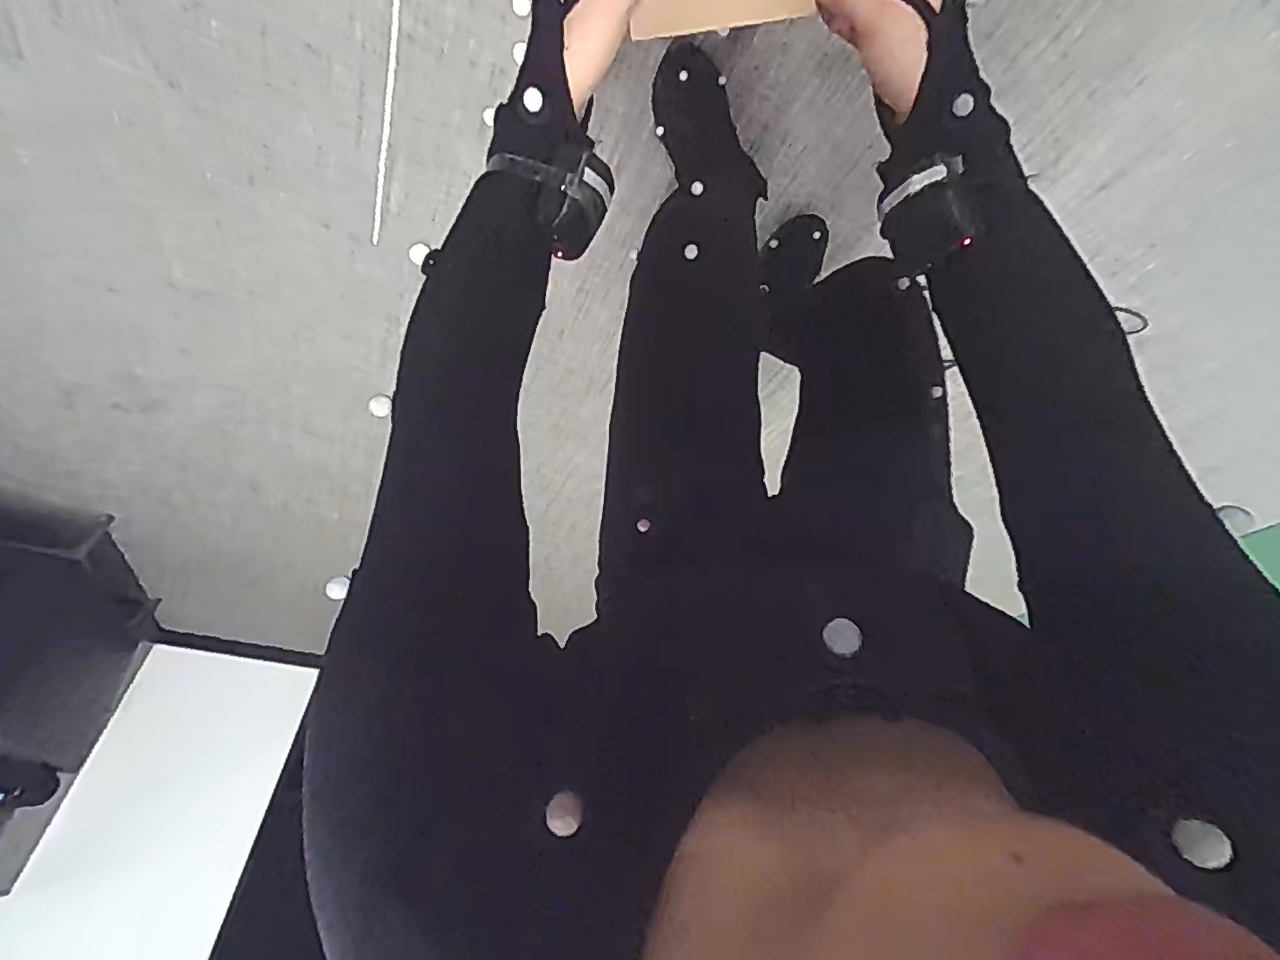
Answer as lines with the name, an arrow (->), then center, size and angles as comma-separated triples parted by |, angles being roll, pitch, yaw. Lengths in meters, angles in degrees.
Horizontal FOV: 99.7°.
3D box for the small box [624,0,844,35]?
small box -> 0.064, -0.459, 0.396 | 0.168, 0.176, 0.179 | -4, 136, 5
